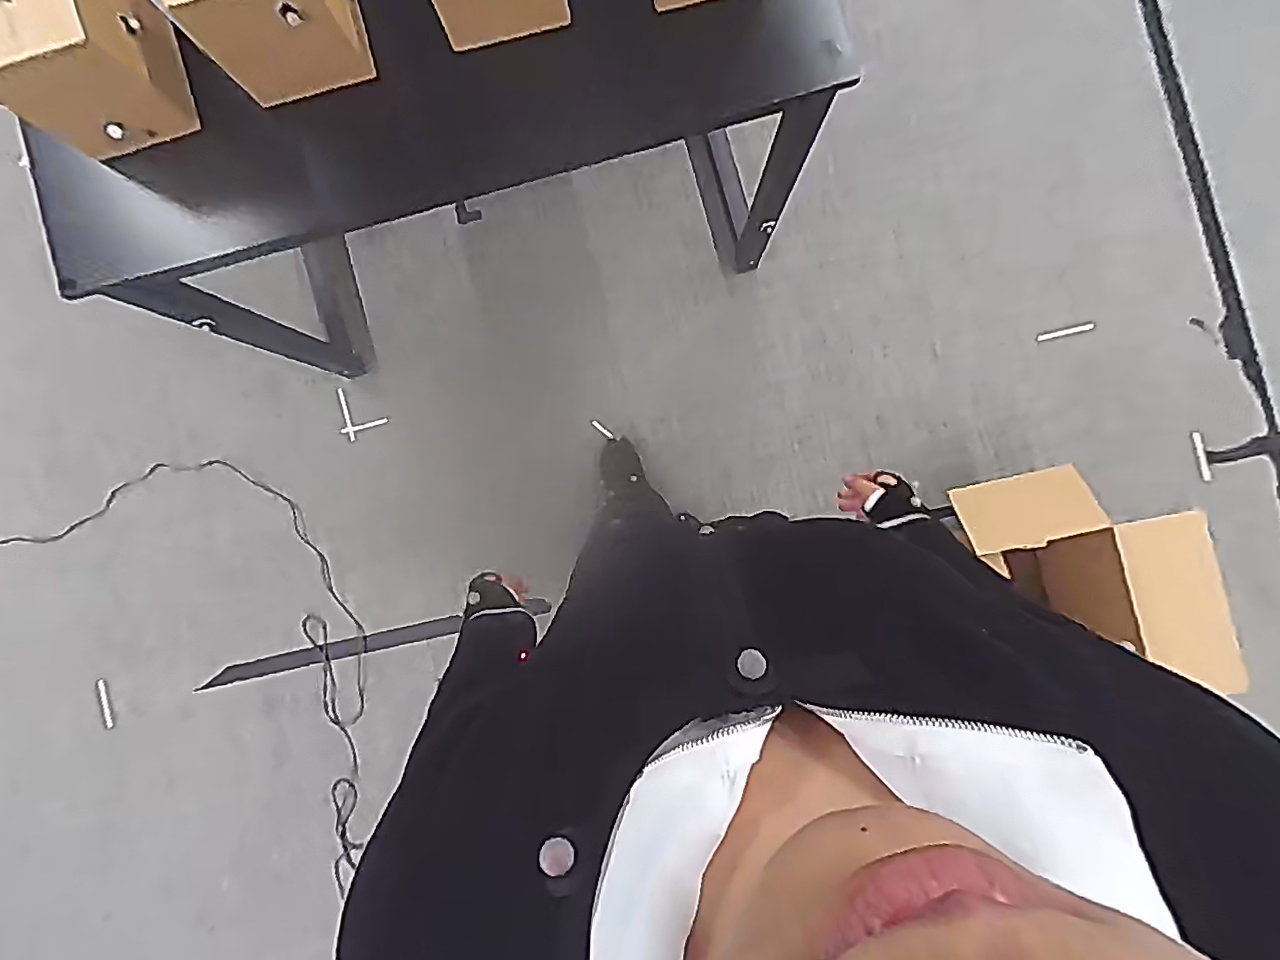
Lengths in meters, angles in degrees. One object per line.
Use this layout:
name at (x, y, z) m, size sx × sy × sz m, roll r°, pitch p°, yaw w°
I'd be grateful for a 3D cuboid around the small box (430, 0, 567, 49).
small box at (-0.209, -0.718, 0.708) m, size 0.179 × 0.176 × 0.168 m, roll -13°, pitch 89°, yaw 2°

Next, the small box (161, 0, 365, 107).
small box at (-0.492, -0.643, 0.713) m, size 0.179 × 0.176 × 0.168 m, roll -15°, pitch 89°, yaw 1°

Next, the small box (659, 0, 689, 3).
small box at (0.076, -0.773, 0.700) m, size 0.168 × 0.176 × 0.179 m, roll -12°, pitch 88°, yaw 1°

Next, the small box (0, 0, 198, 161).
small box at (-0.750, -0.574, 0.720) m, size 0.168 × 0.176 × 0.179 m, roll -17°, pitch 90°, yaw 1°
